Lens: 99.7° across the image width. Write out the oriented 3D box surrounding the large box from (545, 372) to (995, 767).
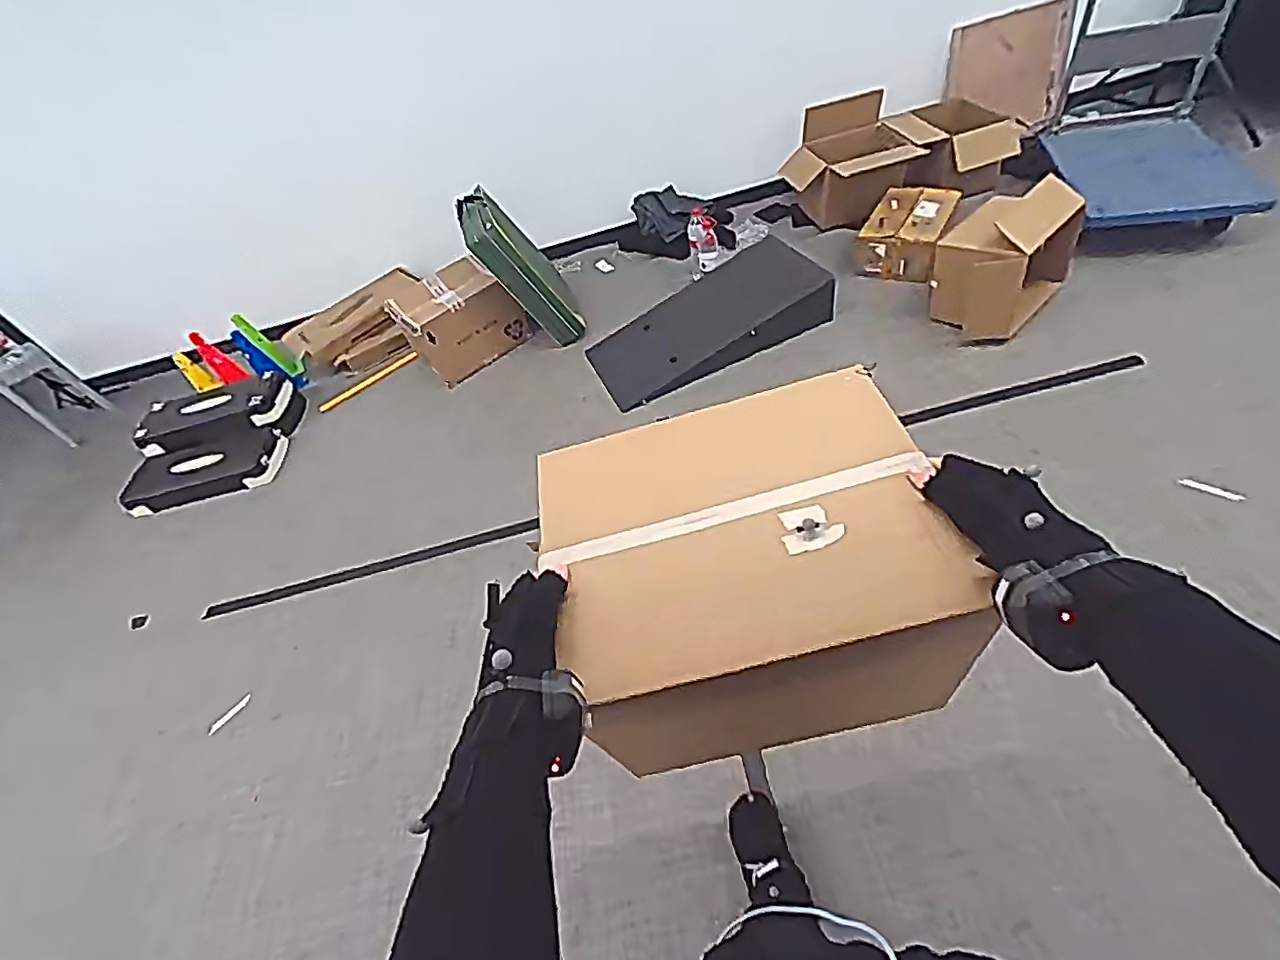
[{"bbox_3d":[0.126,0.125,0.687,0.408,0.320,0.320,-15,51,3],"label":"large box"}]
